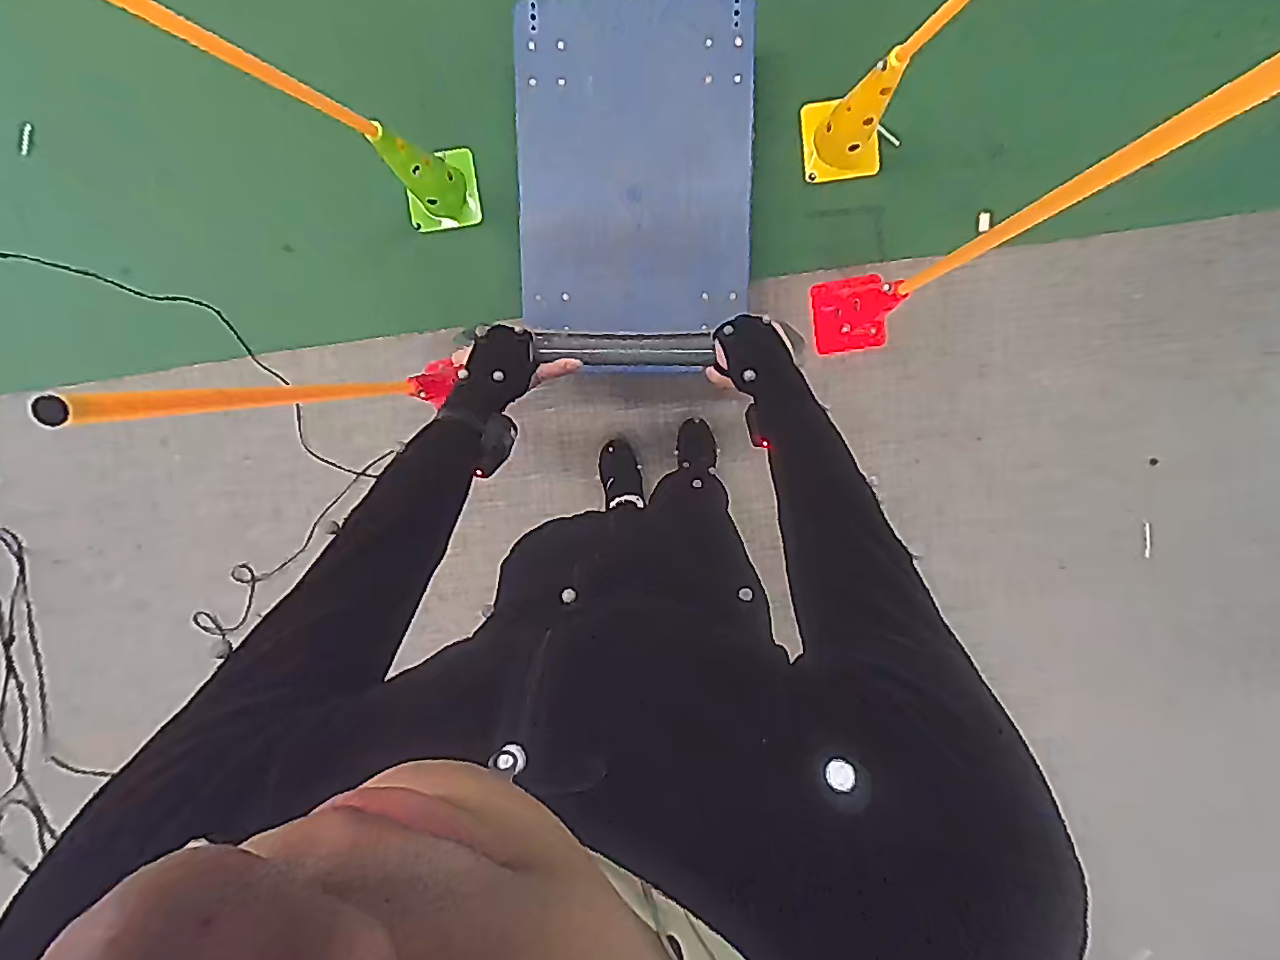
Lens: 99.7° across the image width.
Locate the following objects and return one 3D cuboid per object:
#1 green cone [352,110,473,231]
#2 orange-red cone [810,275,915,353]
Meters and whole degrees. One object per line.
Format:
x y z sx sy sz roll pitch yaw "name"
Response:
-0.571 -0.774 1.310 0.200 0.368 0.202 -8 97 4 "green cone"
0.570 -0.437 1.324 0.198 0.360 0.199 -7 96 2 "orange-red cone"
